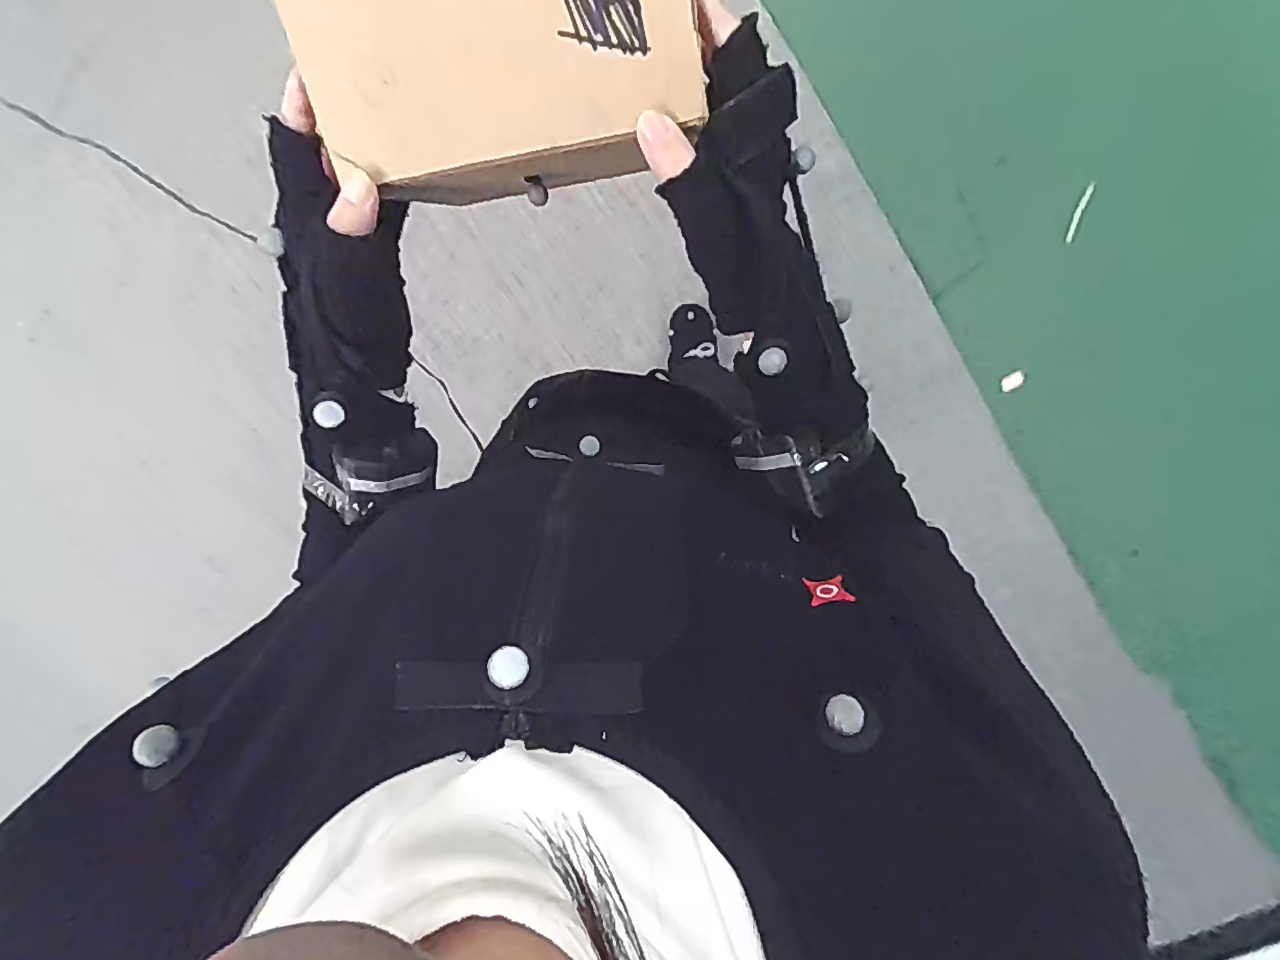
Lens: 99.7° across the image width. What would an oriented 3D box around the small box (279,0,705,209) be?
[{"bbox_3d":[-0.066,-0.252,0.292,0.179,0.176,0.168,-8,114,7],"label":"small box"}]
